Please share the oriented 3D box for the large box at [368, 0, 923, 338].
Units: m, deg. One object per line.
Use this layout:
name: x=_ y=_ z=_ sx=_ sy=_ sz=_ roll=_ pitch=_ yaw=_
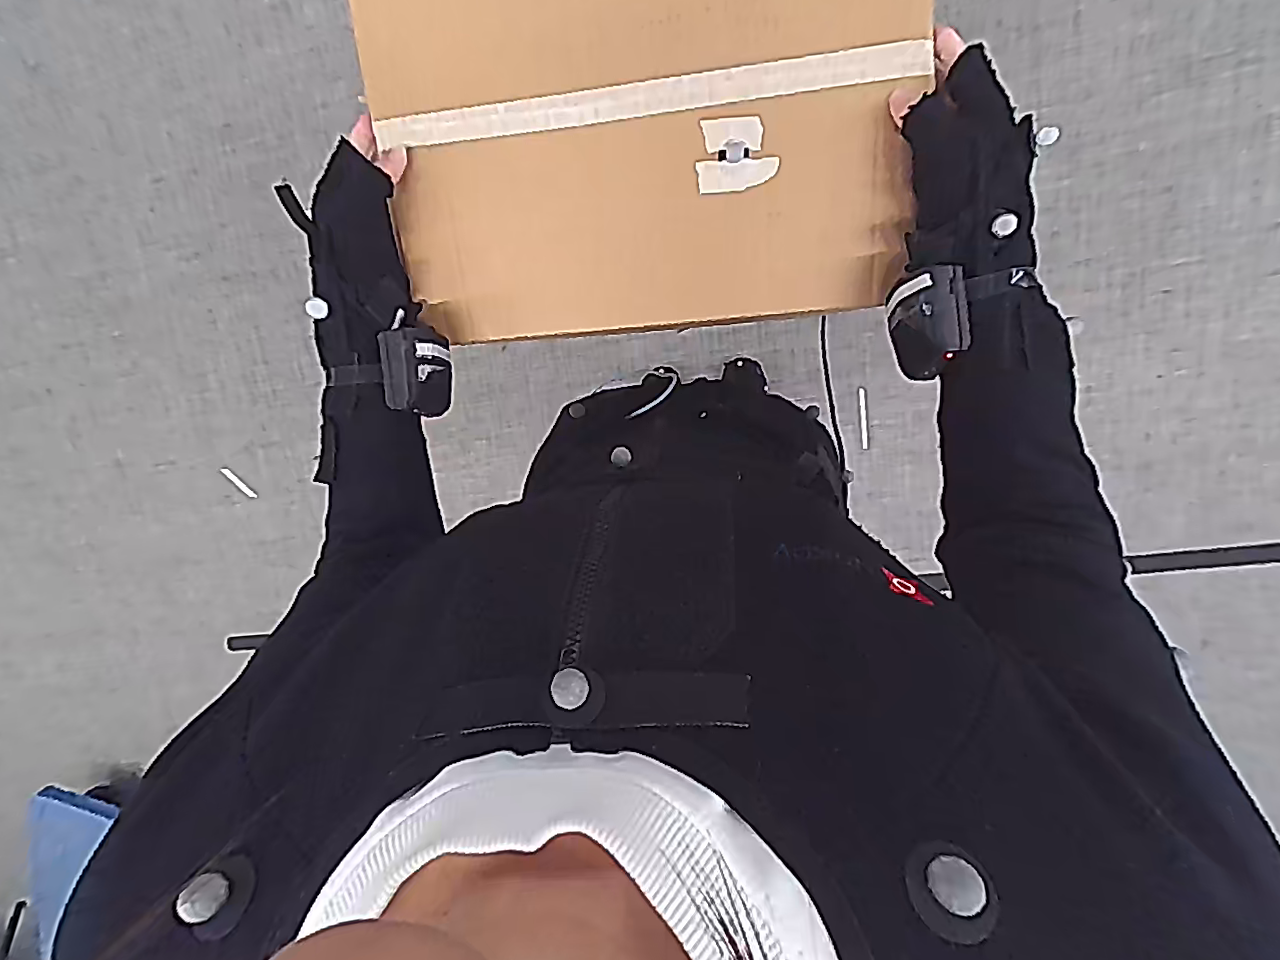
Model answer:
large box: x=0.013 y=-0.324 z=0.547 sx=0.408 sy=0.320 sz=0.320 roll=-4 pitch=105 yaw=6
